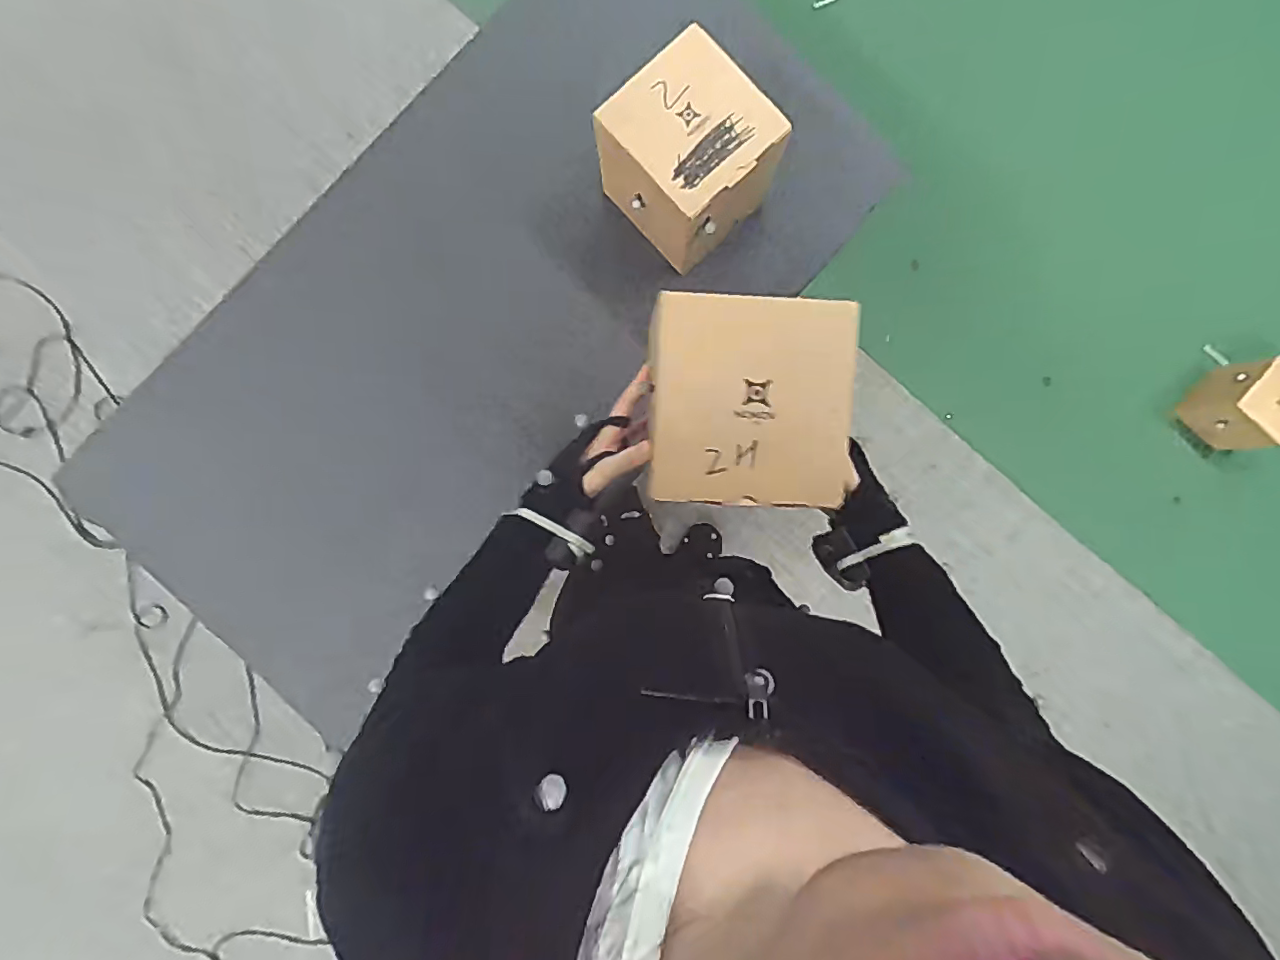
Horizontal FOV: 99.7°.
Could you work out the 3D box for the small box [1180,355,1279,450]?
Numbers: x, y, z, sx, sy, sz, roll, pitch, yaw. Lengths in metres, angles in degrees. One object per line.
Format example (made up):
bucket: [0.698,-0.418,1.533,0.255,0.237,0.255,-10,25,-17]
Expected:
small box: [1.622,-0.198,1.447,0.168,0.176,0.179,42,88,1]
